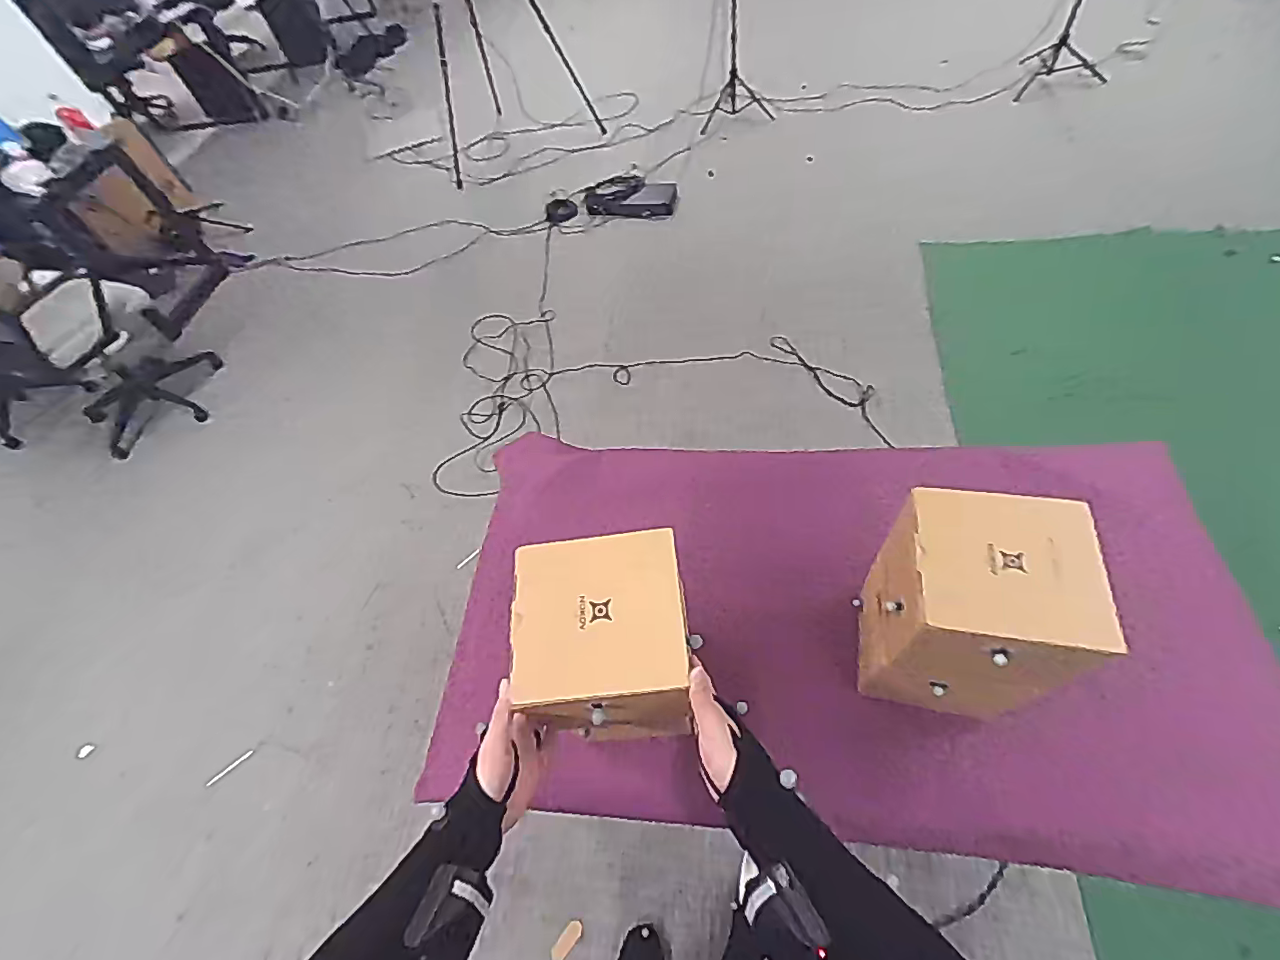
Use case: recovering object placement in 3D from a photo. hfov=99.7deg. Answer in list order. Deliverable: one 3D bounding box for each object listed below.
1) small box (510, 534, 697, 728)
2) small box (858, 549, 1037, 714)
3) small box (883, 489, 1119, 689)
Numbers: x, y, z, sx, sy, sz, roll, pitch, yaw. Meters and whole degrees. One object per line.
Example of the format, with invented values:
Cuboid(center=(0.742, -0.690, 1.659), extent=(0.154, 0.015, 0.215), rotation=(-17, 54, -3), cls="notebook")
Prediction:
Cuboid(center=(-0.031, 0.176, 0.608), extent=(0.179, 0.176, 0.168), rotation=(-8, 59, 5), cls="small box")
Cuboid(center=(0.411, 0.216, 0.759), extent=(0.179, 0.176, 0.168), rotation=(7, 58, 13), cls="small box")
Cuboid(center=(0.387, 0.130, 0.624), extent=(0.179, 0.176, 0.168), rotation=(6, 59, 13), cls="small box")
